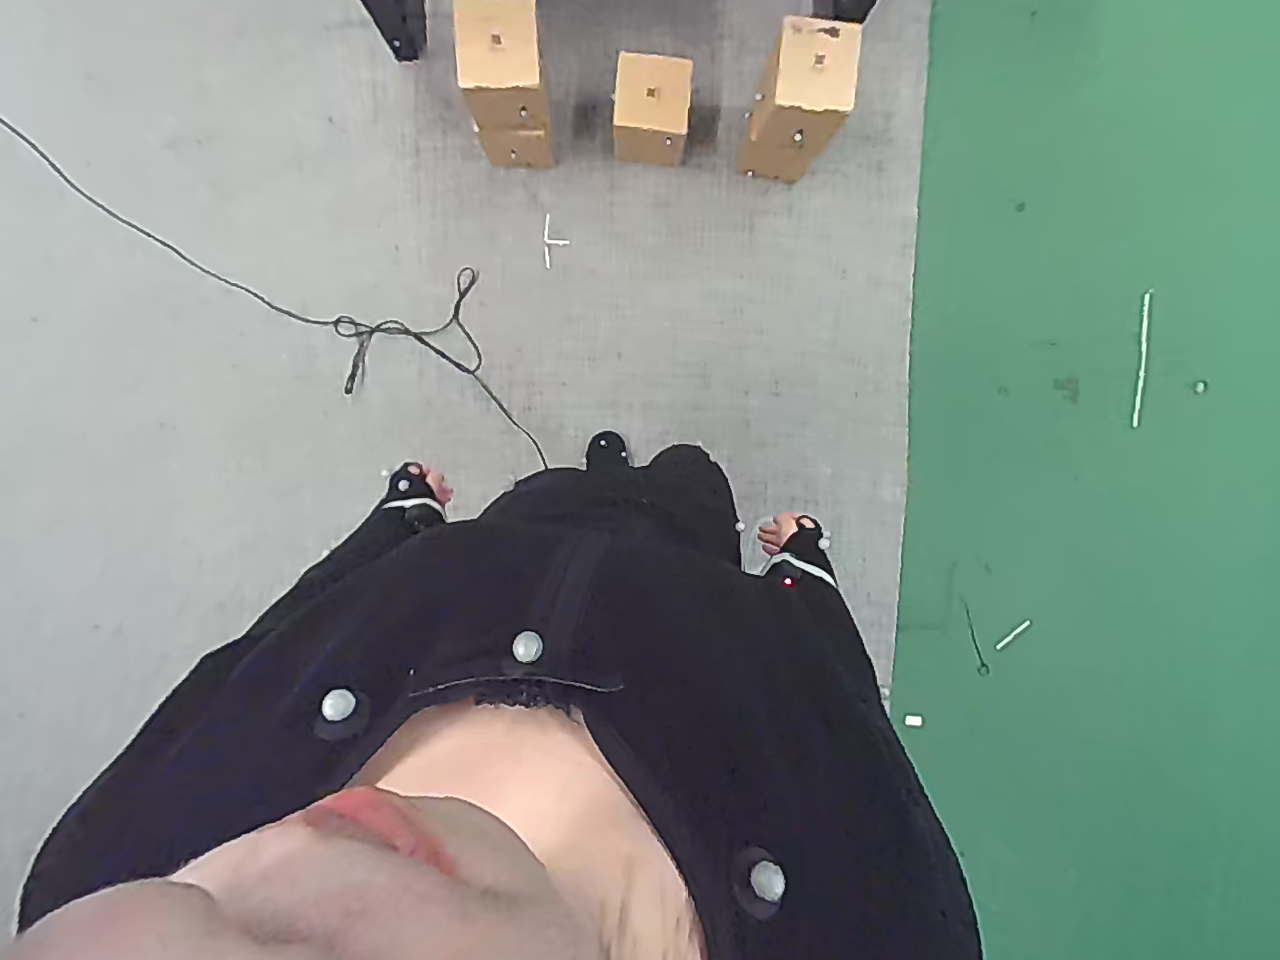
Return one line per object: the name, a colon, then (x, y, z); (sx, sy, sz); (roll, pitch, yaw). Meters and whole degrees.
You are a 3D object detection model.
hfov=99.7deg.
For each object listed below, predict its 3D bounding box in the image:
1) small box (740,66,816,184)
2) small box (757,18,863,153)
small box: (0.355, -0.875, 1.352); (0.168, 0.176, 0.179); (10, 93, -2)
small box: (0.363, -0.854, 1.188); (0.168, 0.176, 0.179); (6, 96, -2)
